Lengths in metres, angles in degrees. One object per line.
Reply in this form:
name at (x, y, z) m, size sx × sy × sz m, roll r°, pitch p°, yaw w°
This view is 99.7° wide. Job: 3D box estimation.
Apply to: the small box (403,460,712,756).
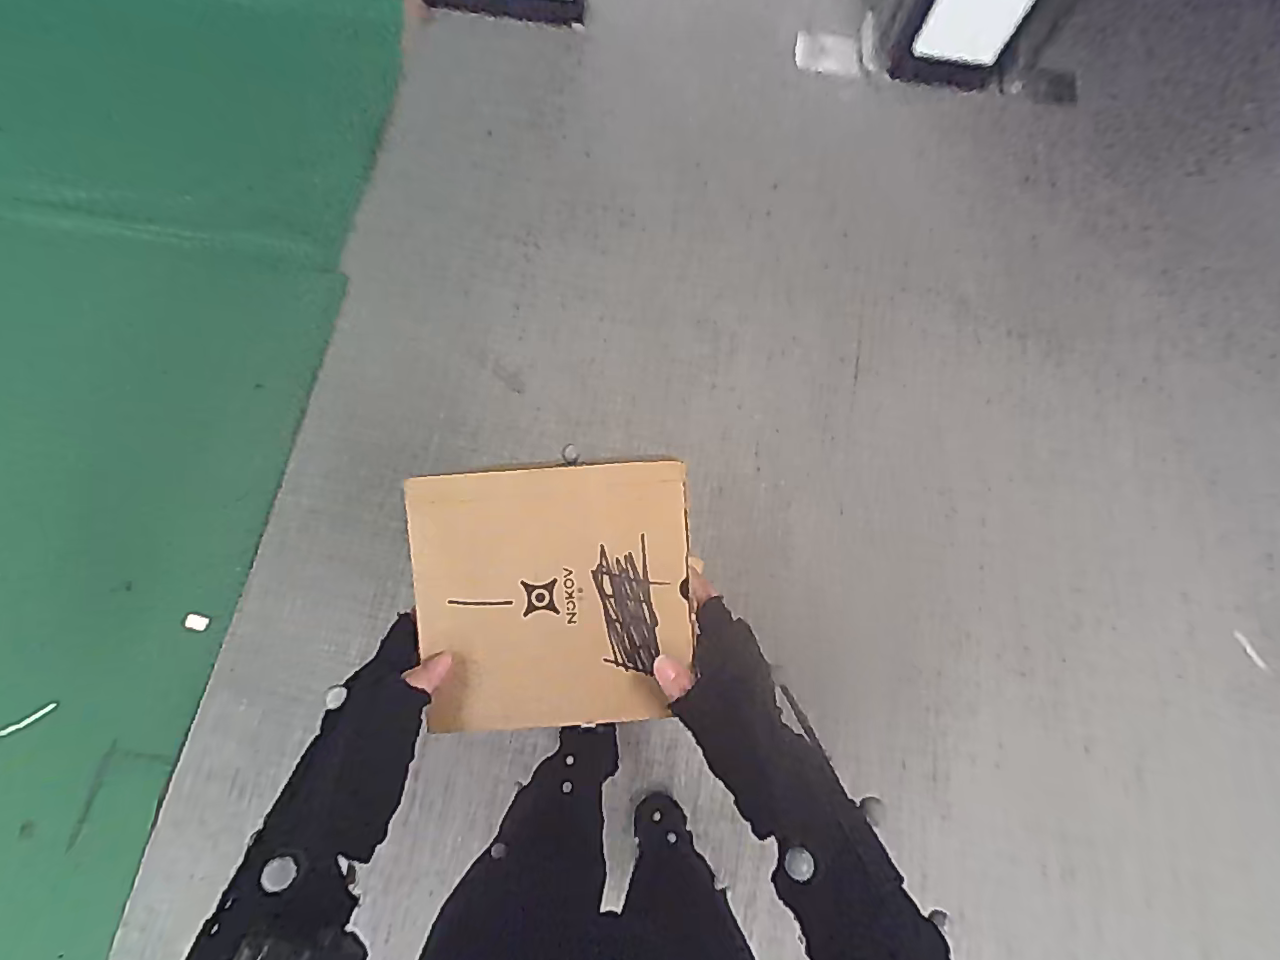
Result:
small box at (-0.054, 0.077, 0.418) m, size 0.179 × 0.176 × 0.168 m, roll -9°, pitch 93°, yaw -2°
